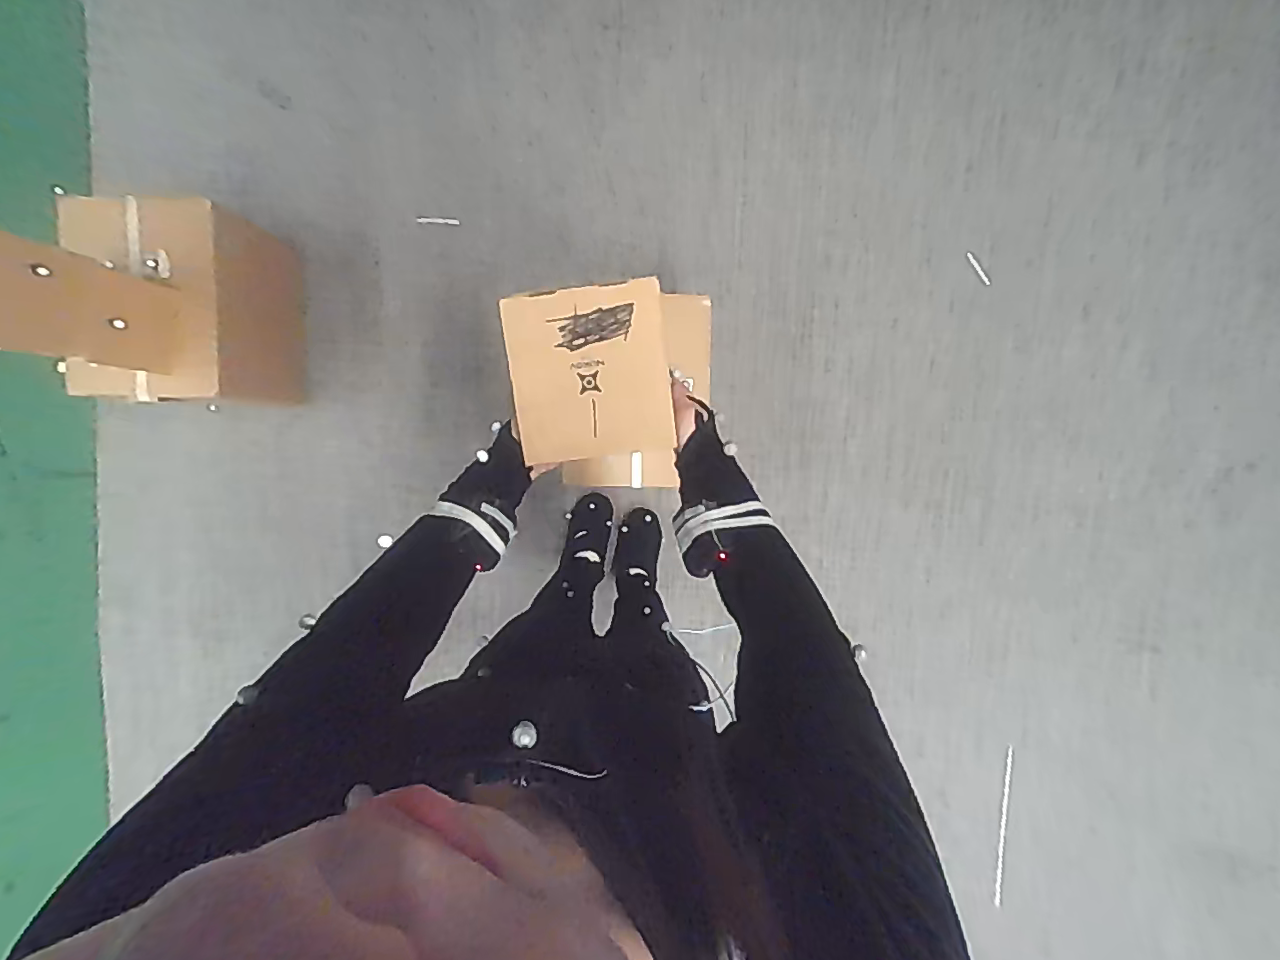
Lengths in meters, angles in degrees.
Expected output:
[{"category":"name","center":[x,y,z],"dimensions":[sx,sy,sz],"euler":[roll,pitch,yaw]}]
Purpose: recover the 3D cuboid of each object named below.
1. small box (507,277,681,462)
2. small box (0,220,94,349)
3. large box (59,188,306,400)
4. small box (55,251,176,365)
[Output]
[{"category":"small box","center":[-0.044,-0.124,0.635],"dimensions":[0.168,0.176,0.179],"euler":[-6,100,4]},{"category":"small box","center":[-1.025,-0.320,0.848],"dimensions":[0.168,0.176,0.179],"euler":[16,96,-1]},{"category":"large box","center":[-1.018,-0.397,1.249],"dimensions":[0.320,0.320,0.408],"euler":[1,94,-1]},{"category":"small box","center":[-1.022,-0.325,1.011],"dimensions":[0.168,0.176,0.179],"euler":[12,95,-1]}]
